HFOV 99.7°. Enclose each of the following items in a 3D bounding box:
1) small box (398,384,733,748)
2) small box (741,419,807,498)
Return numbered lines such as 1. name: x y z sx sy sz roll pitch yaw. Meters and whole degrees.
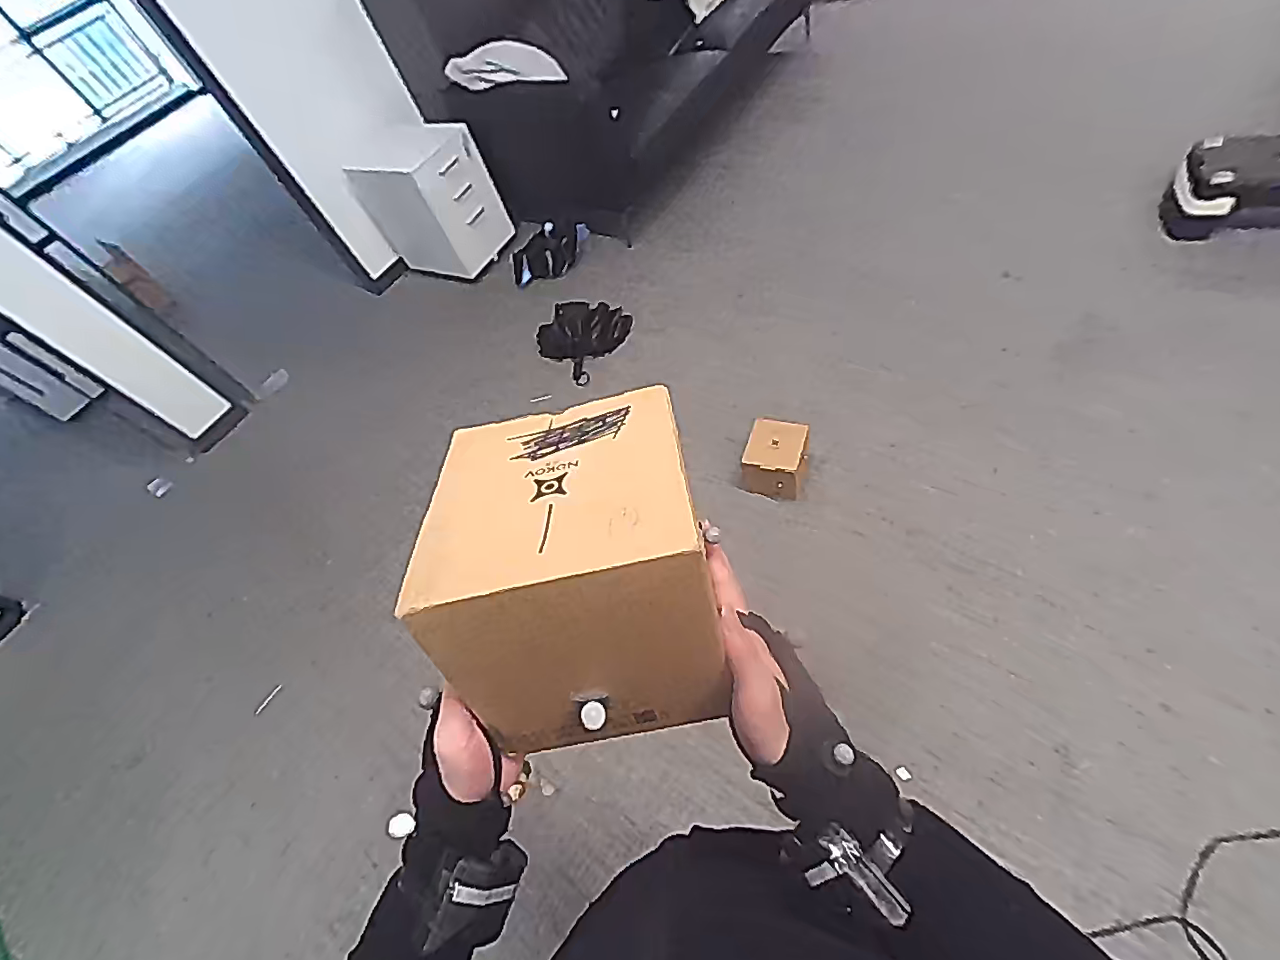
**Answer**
1. small box: -0.035 0.060 0.387 0.168 0.176 0.179 -12 39 6
2. small box: 0.426 -0.065 1.701 0.168 0.176 0.179 11 60 23
